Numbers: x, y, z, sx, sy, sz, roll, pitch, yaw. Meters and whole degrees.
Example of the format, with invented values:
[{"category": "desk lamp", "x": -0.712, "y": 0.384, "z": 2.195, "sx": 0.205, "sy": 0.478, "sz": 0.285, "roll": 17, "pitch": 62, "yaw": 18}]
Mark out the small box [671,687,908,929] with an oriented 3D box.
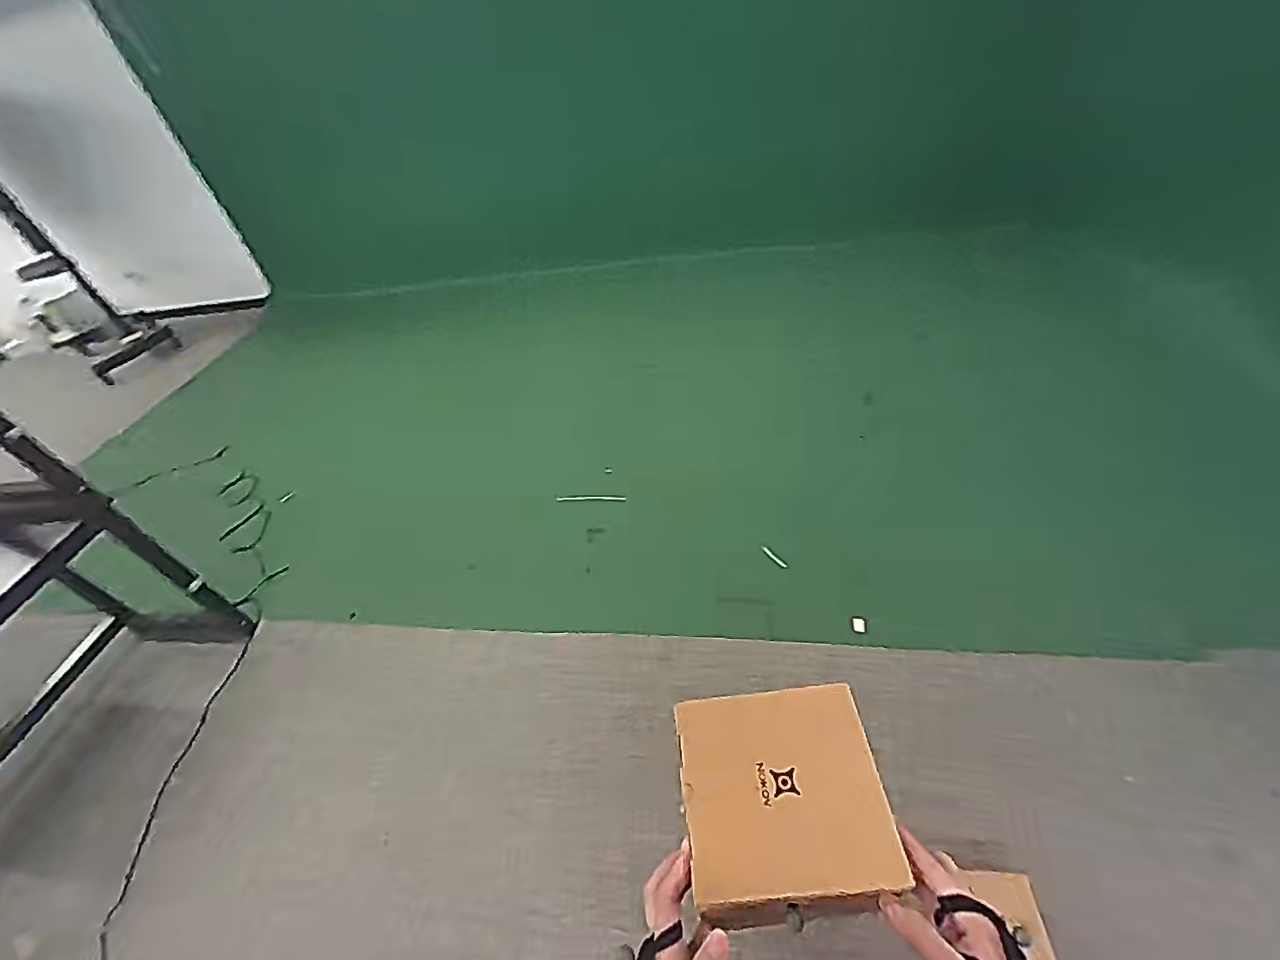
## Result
[{"category": "small box", "x": 0.135, "y": 0.330, "z": 0.541, "sx": 0.179, "sy": 0.176, "sz": 0.168, "roll": -11, "pitch": 45, "yaw": 5}]
